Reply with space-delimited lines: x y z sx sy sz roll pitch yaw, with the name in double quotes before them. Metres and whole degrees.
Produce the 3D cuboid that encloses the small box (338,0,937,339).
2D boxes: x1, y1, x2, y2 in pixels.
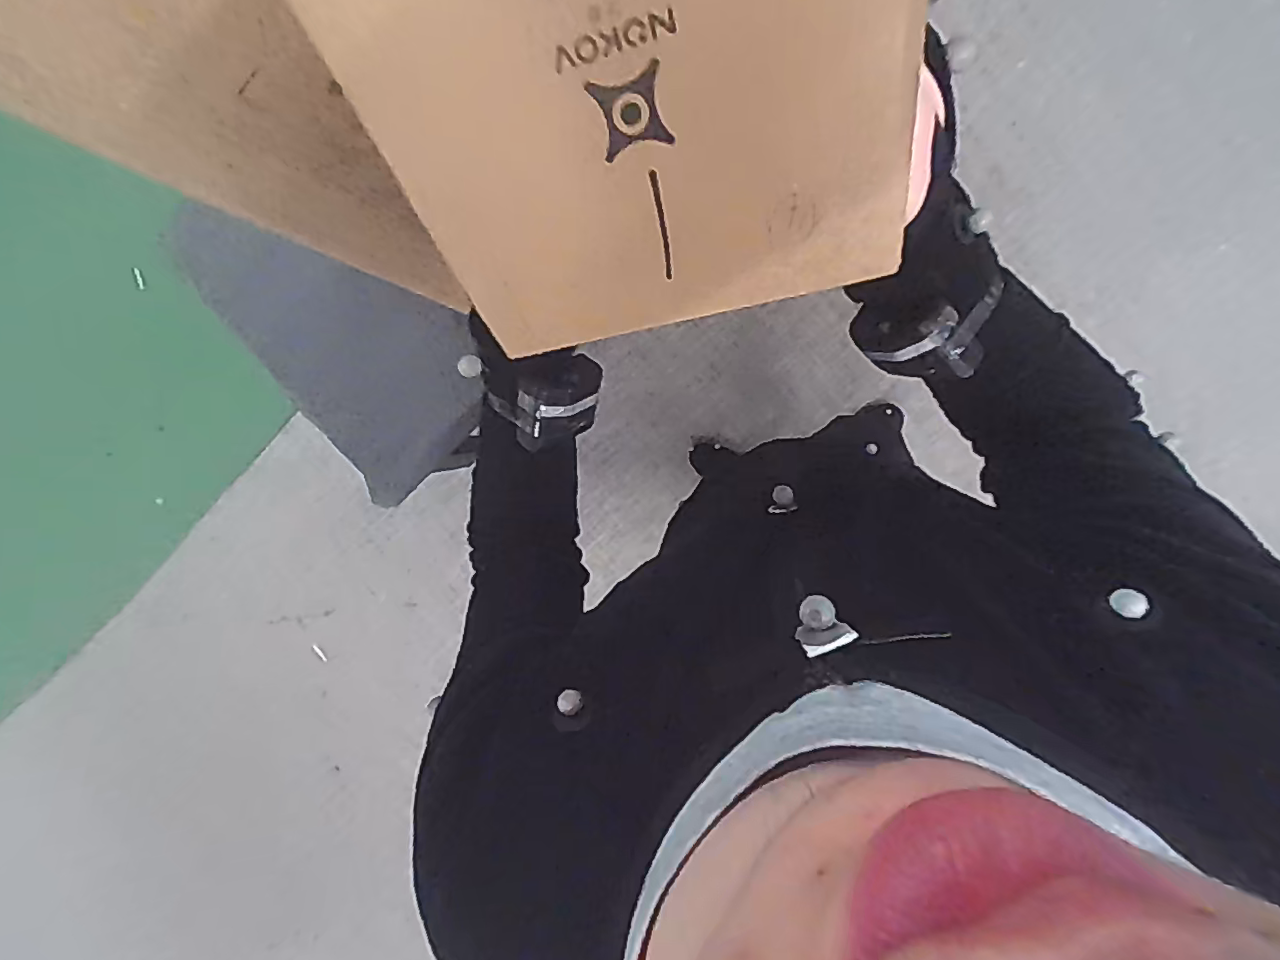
"small box" 0.004 -0.189 0.211 0.168 0.179 0.176 -7 52 13
